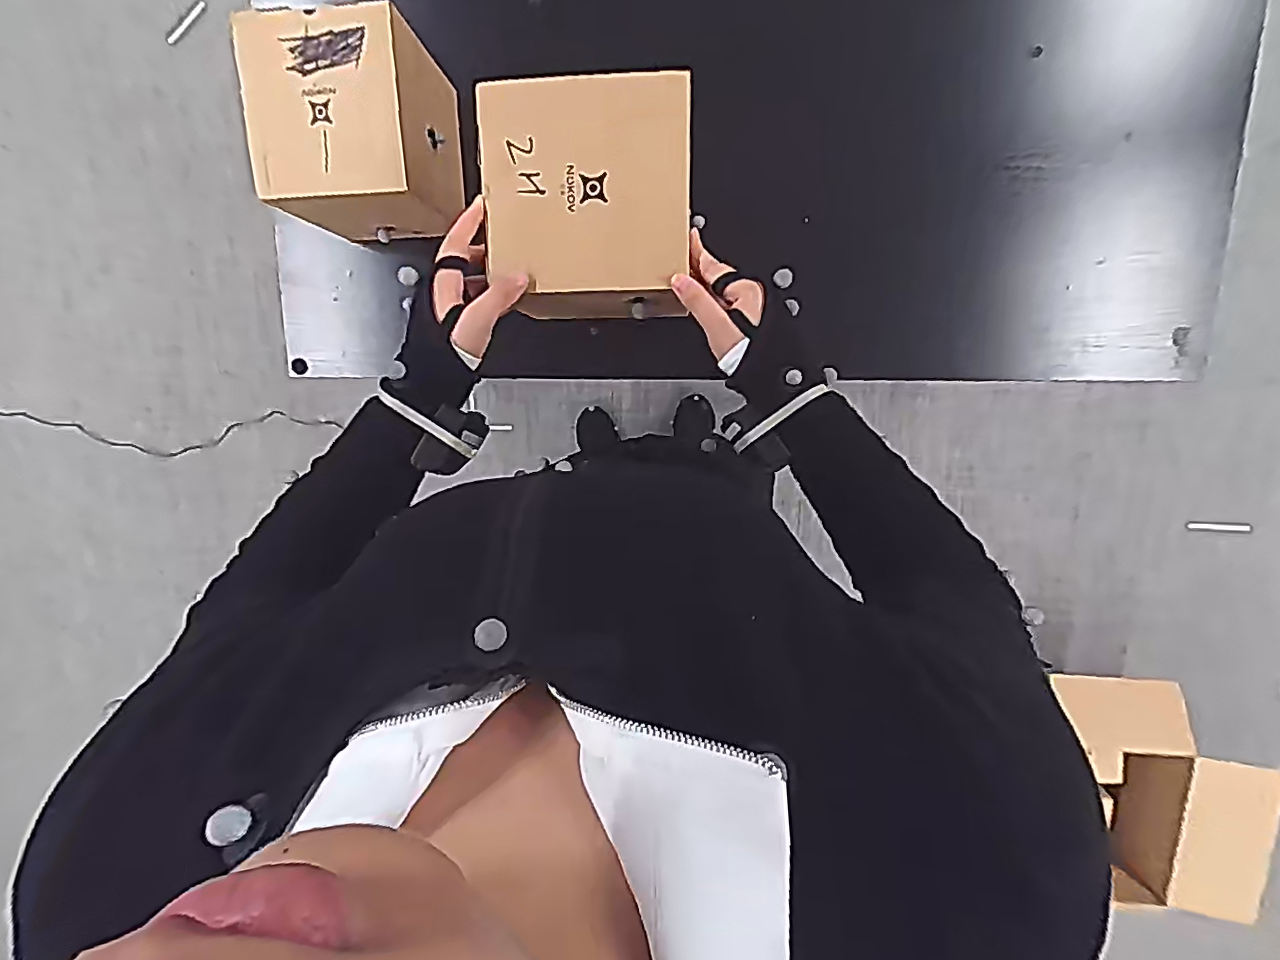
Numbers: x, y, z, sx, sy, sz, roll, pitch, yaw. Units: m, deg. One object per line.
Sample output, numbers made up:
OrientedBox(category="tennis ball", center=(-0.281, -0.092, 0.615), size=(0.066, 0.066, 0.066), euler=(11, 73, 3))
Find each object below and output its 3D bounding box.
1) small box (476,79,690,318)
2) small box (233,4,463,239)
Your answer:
OrientedBox(category="small box", center=(-0.043, -0.254, 0.527), size=(0.179, 0.176, 0.168), euler=(0, 100, 4))
OrientedBox(category="small box", center=(-0.319, -0.396, 0.628), size=(0.168, 0.176, 0.179), euler=(-1, 101, 4))
